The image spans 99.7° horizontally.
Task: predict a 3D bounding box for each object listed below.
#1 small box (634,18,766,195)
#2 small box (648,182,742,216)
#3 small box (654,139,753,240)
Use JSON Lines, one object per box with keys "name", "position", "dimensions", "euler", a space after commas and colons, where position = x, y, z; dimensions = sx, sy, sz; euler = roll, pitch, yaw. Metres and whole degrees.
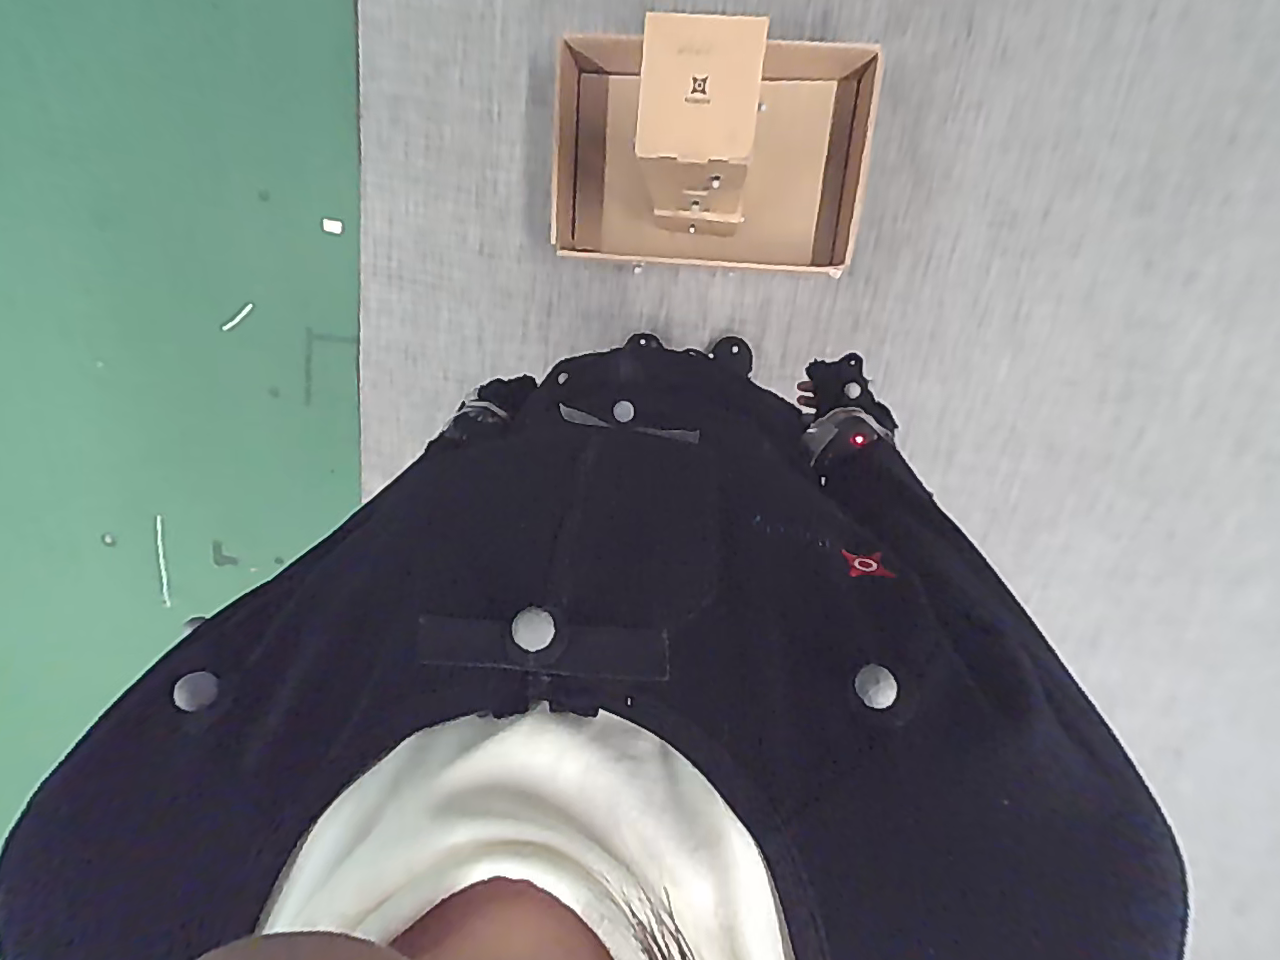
{"name": "small box", "position": [0.089, -0.552, 0.823], "dimensions": [0.168, 0.176, 0.179], "euler": [6, 104, 4]}
{"name": "small box", "position": [0.110, -0.598, 0.998], "dimensions": [0.168, 0.176, 0.179], "euler": [4, 104, 7]}
{"name": "small box", "position": [0.134, -0.621, 1.155], "dimensions": [0.179, 0.176, 0.168], "euler": [9, 104, 5]}
